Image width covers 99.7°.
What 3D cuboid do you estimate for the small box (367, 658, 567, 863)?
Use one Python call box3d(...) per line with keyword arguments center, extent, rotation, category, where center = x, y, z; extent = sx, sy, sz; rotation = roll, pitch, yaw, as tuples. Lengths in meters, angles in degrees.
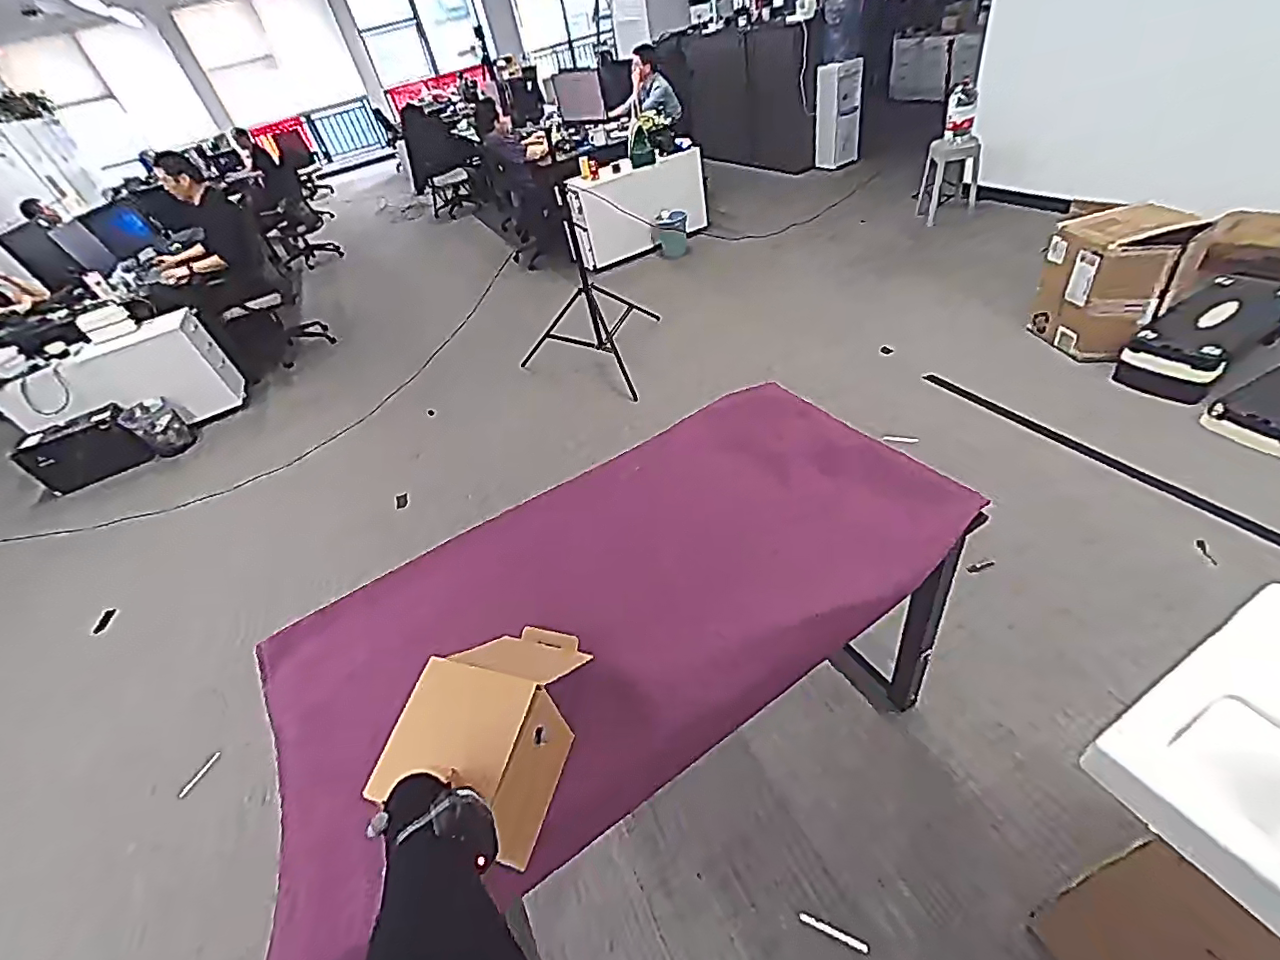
box3d(center=(-0.212, 0.373, 0.724), extent=(0.168, 0.176, 0.179), rotation=(6, 47, 19), category="small box")
